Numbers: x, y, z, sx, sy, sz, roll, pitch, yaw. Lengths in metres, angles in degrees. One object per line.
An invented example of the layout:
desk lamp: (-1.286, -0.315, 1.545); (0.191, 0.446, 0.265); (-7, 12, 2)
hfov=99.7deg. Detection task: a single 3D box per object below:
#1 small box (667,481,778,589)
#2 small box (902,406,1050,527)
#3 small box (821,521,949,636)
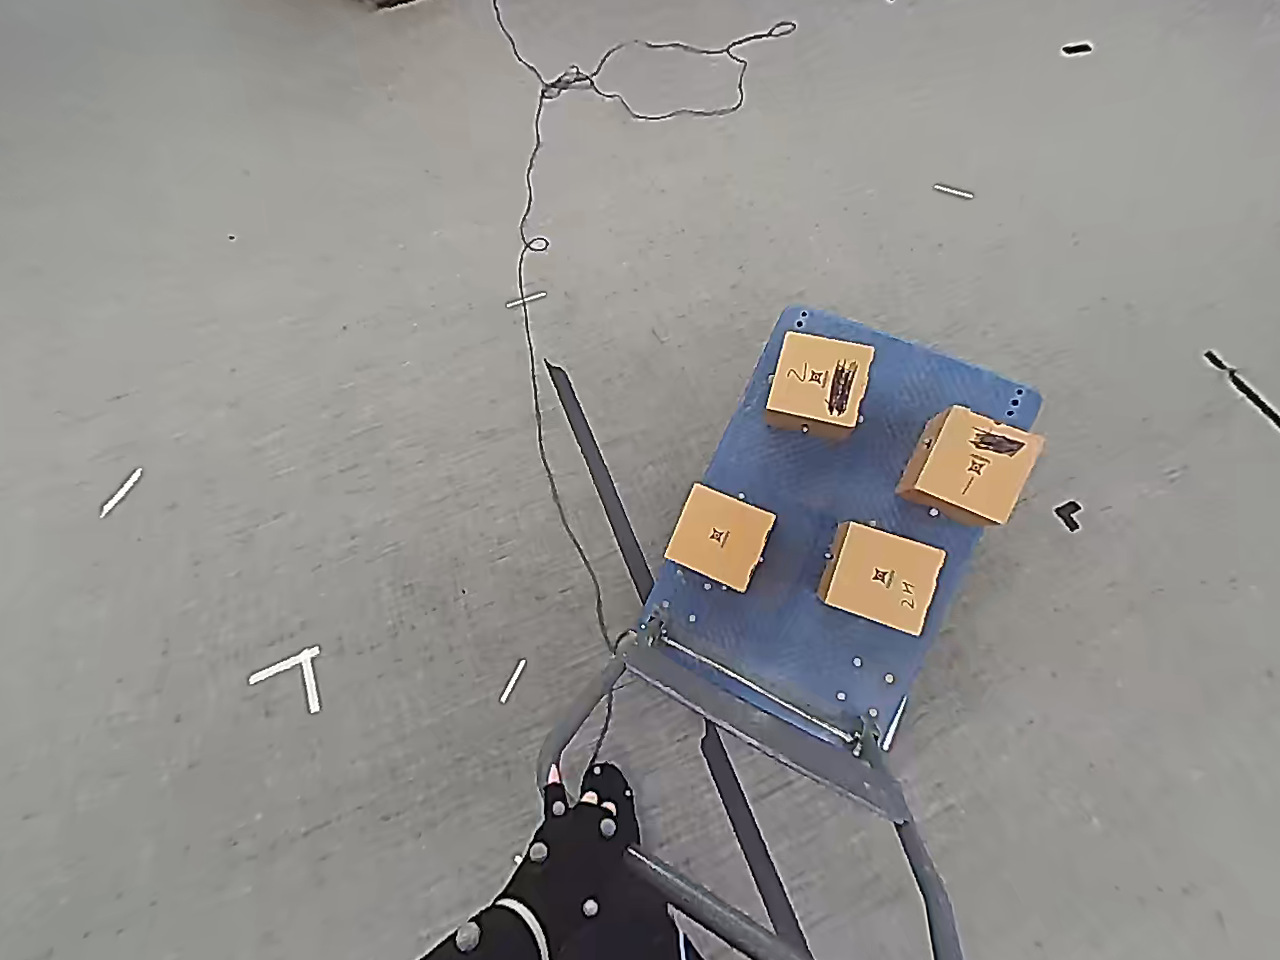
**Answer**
small box: (0.178, 0.116, 1.152); (0.179, 0.176, 0.168); (23, 90, 13)
small box: (0.641, -0.020, 1.059); (0.168, 0.176, 0.179); (26, 91, 15)
small box: (0.473, 0.189, 1.076); (0.179, 0.176, 0.168); (19, 89, 14)
